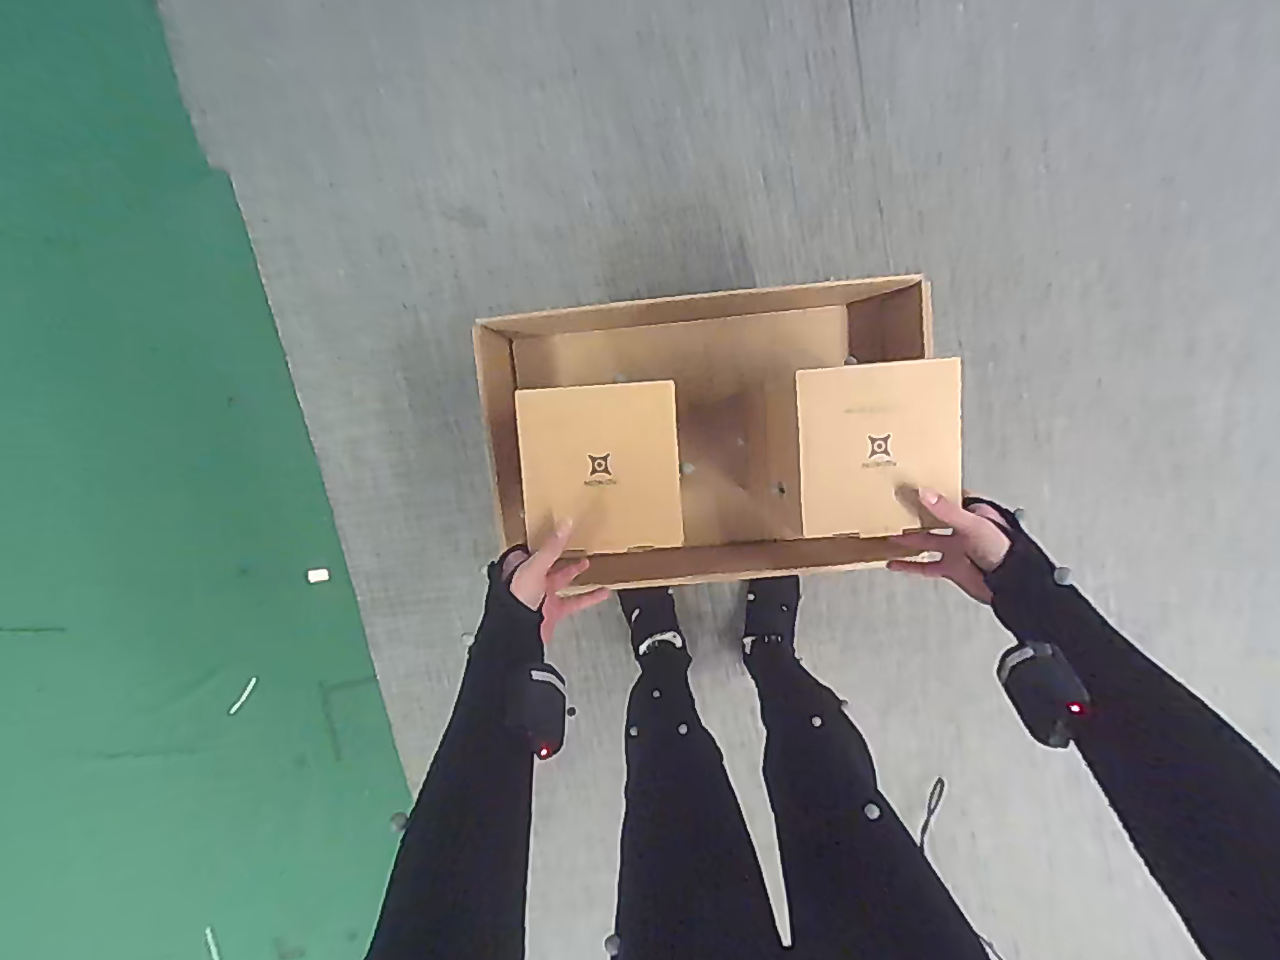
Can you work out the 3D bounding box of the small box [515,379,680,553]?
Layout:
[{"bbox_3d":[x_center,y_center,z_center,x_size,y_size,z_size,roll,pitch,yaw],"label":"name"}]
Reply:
[{"bbox_3d":[-0.042,-0.021,0.645,0.168,0.176,0.179,-4,97,2],"label":"small box"}]

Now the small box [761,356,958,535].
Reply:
[{"bbox_3d":[0.240,-0.042,0.626,0.168,0.176,0.179,-4,96,2],"label":"small box"}]
